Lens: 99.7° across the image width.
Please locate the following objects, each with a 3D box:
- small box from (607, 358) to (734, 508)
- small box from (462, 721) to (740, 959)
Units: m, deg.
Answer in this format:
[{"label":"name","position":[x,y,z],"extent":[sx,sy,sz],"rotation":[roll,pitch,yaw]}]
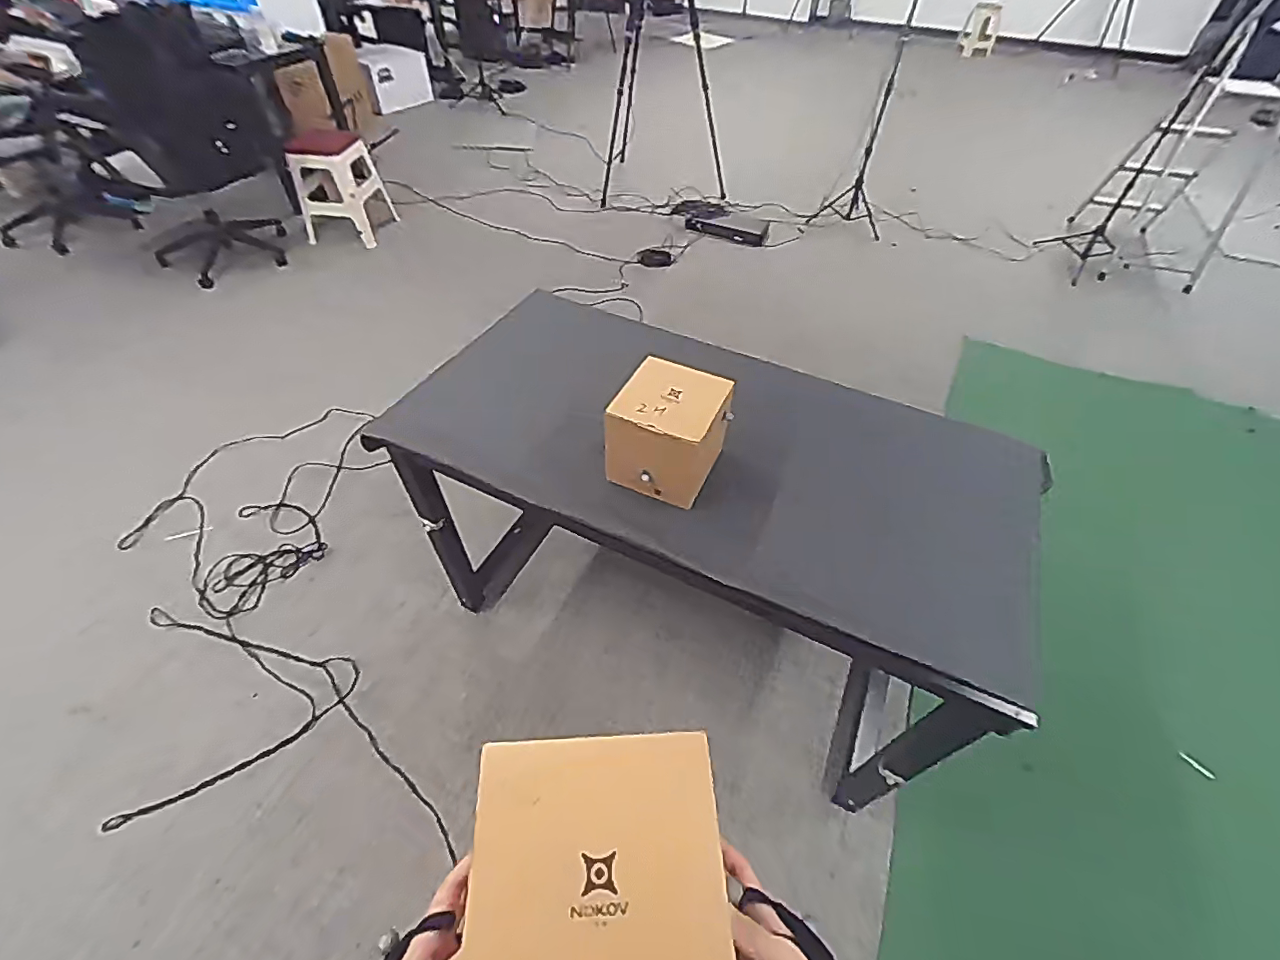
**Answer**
[{"label":"small box","position":[0.051,-0.083,0.961],"extent":[0.168,0.176,0.179],"rotation":[20,50,16]},{"label":"small box","position":[-0.031,0.298,0.404],"extent":[0.168,0.176,0.179],"rotation":[-1,51,-6]}]
